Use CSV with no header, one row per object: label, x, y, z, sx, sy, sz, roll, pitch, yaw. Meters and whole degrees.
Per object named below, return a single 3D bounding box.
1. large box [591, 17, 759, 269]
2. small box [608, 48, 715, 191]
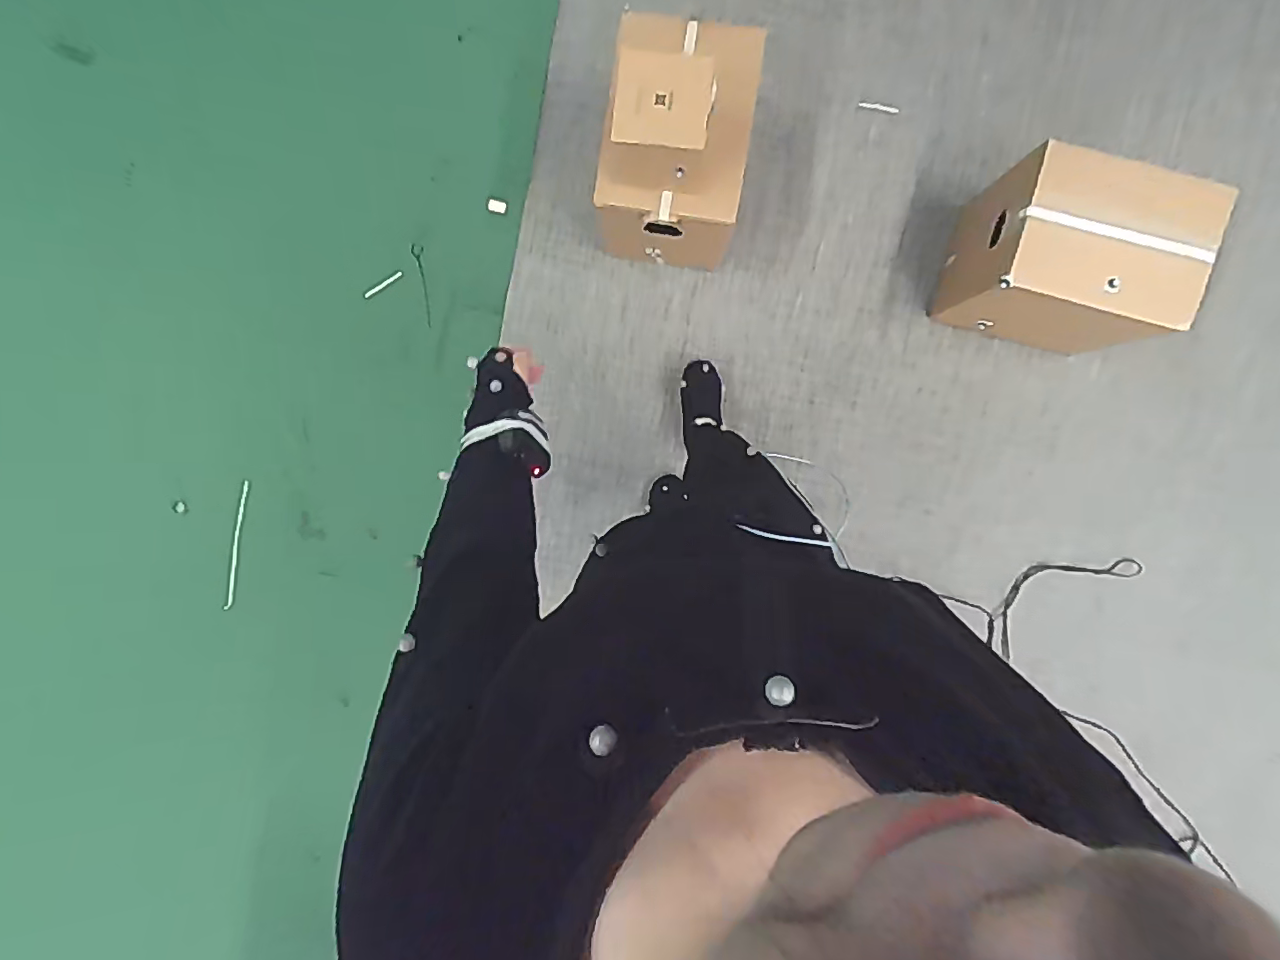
large box,0.078,-0.769,1.294,0.320,0.320,0.408,9,93,1
small box,0.042,-0.689,1.054,0.179,0.176,0.168,8,93,3
